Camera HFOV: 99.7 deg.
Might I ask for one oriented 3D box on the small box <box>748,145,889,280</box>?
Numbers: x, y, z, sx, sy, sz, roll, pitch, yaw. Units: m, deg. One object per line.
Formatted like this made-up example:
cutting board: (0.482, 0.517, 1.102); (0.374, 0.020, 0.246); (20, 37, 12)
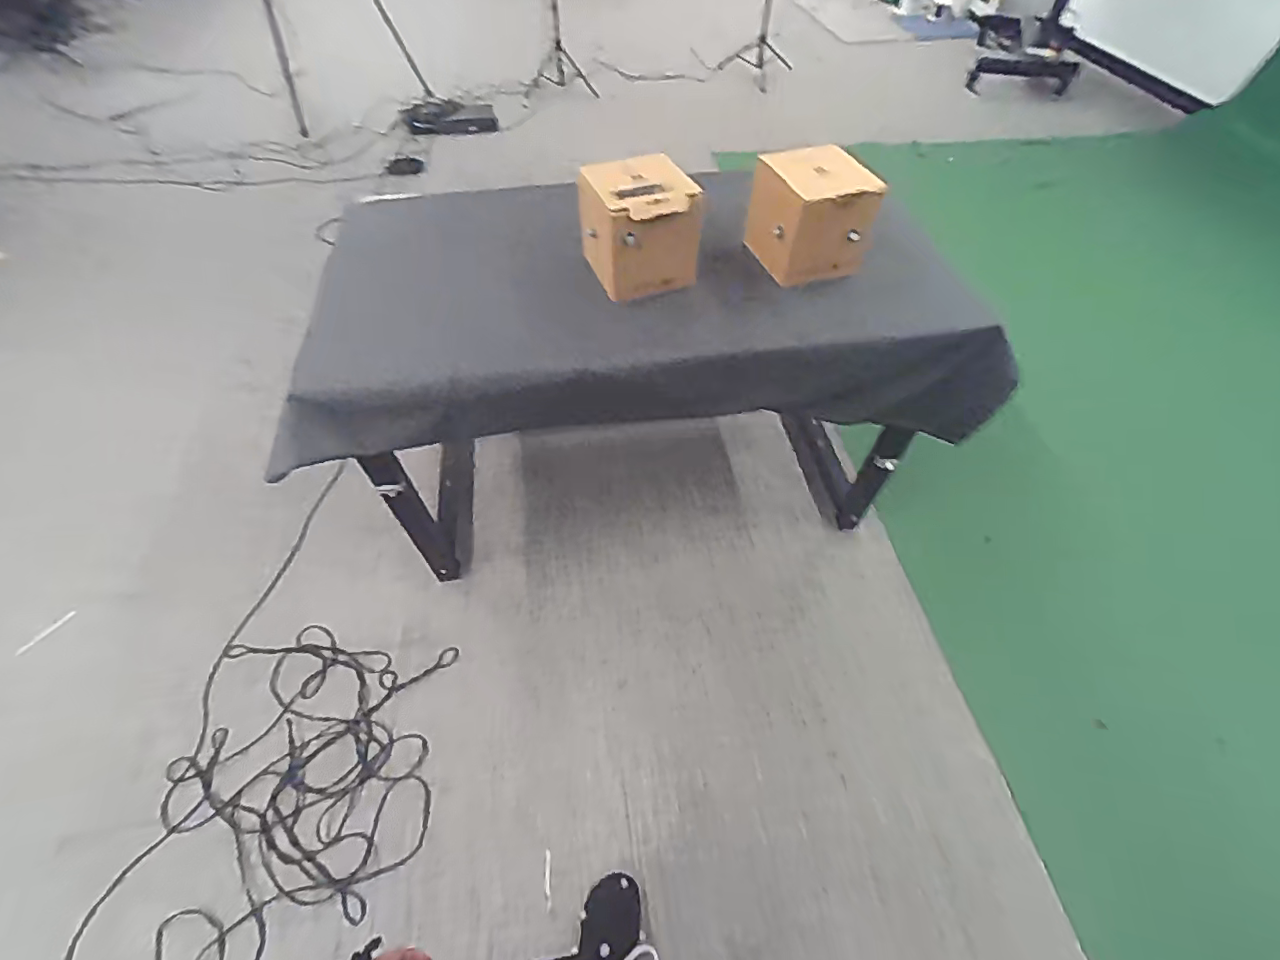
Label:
small box: (0.320, -0.491, 1.010); (0.168, 0.176, 0.179); (-15, 54, -12)
